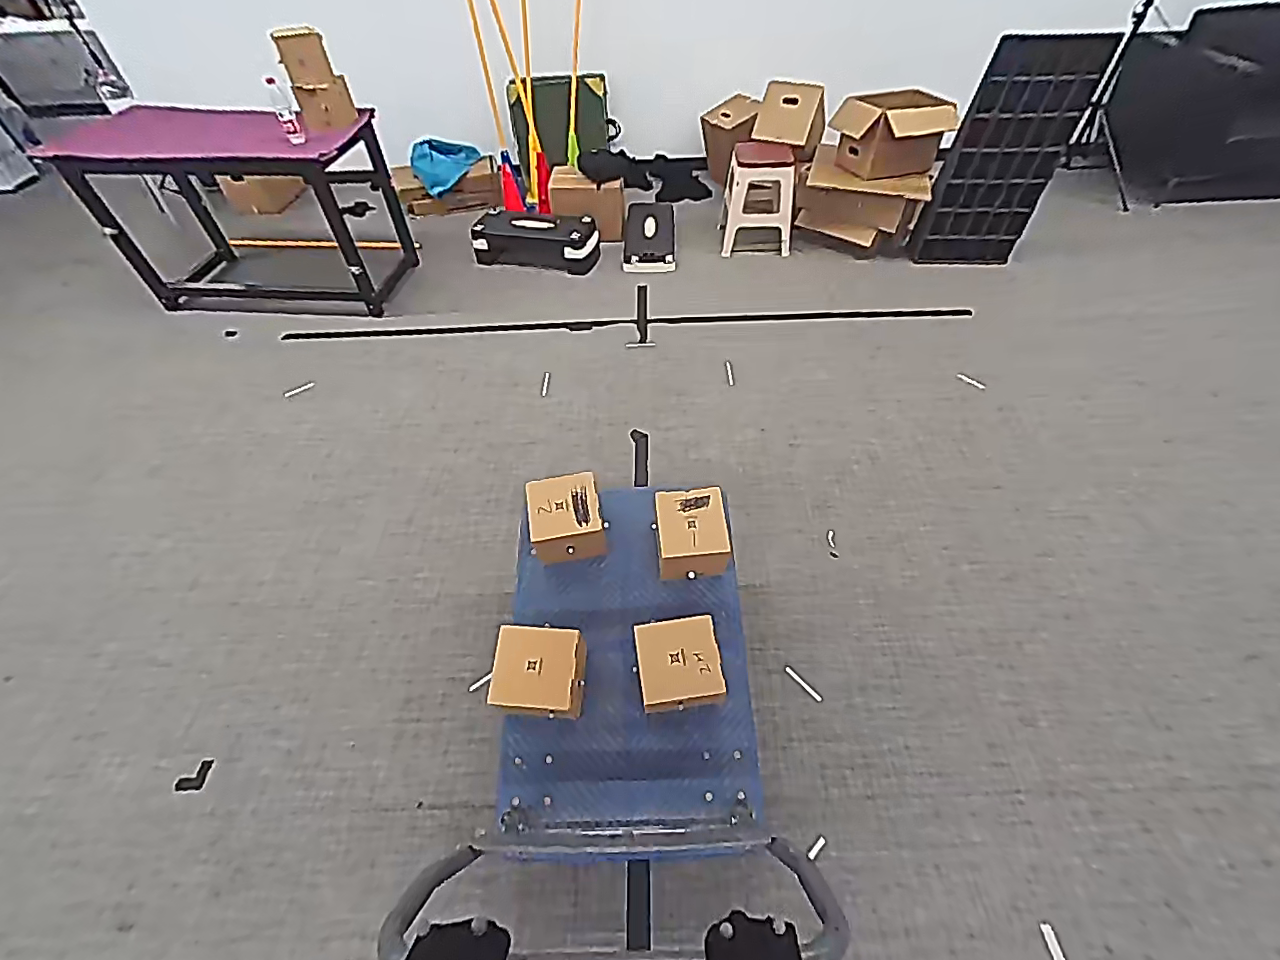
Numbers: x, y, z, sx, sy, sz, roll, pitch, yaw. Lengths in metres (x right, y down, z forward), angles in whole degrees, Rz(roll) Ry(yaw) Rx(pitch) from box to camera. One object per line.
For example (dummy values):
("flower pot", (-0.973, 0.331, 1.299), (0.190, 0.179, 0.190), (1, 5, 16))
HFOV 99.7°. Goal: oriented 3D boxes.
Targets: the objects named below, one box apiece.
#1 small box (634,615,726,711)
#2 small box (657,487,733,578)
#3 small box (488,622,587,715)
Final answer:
("small box", (0.086, 0.416, 1.219), (0.179, 0.176, 0.168), (-7, 62, -2))
("small box", (0.132, 0.136, 1.370), (0.168, 0.176, 0.179), (-5, 62, -1))
("small box", (-0.222, 0.430, 1.221), (0.179, 0.176, 0.168), (4, 61, 2))
